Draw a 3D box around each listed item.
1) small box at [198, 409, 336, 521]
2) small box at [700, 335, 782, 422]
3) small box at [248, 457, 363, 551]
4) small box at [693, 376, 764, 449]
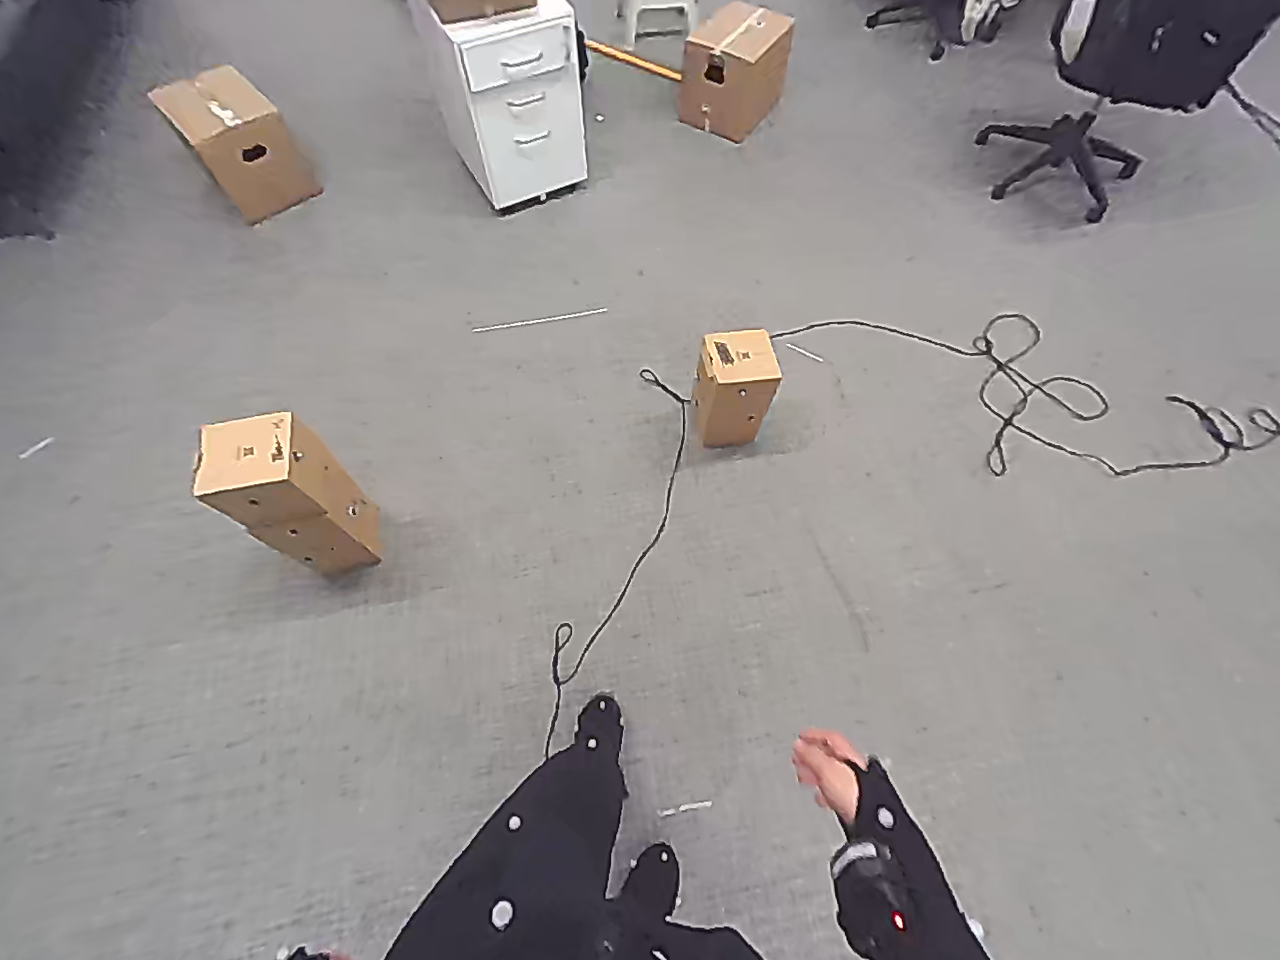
[{"bbox_3d":[-0.785,-0.026,1.155,0.179,0.176,0.168,-11,64,-6],"label":"small box"},{"bbox_3d":[0.267,-0.273,1.478,0.179,0.176,0.168,-6,63,-6],"label":"small box"},{"bbox_3d":[-0.791,0.057,1.296,0.179,0.176,0.168,-10,64,-7],"label":"small box"},{"bbox_3d":[0.261,-0.207,1.629,0.179,0.176,0.168,-7,63,-6],"label":"small box"}]
